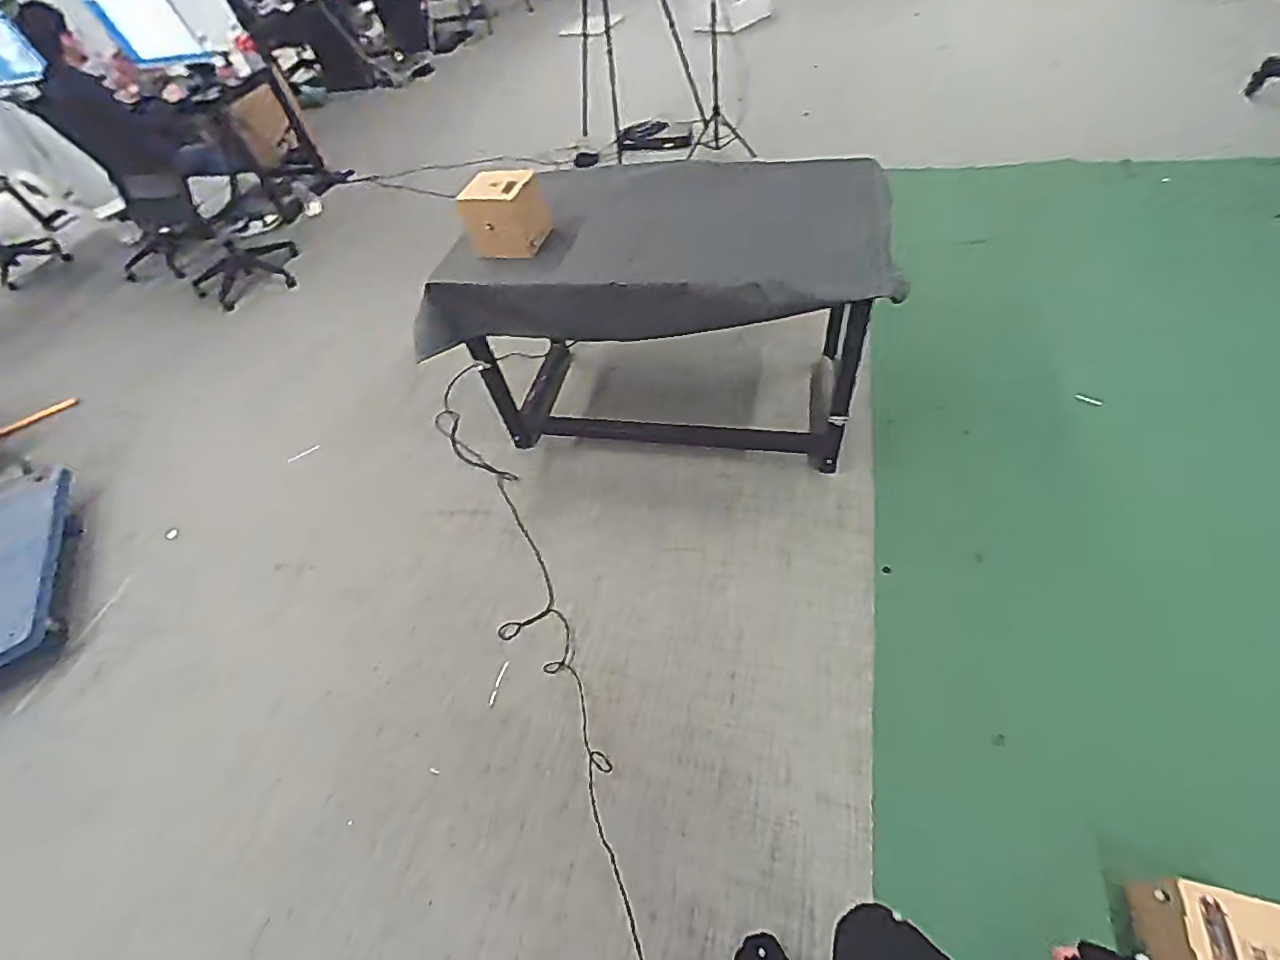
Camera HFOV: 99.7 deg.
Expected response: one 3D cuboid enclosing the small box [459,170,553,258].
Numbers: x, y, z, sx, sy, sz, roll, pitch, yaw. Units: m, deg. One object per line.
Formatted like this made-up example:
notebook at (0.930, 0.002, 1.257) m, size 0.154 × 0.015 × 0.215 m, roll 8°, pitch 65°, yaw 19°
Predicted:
small box at (-0.365, -0.744, 1.518) m, size 0.179 × 0.176 × 0.168 m, roll 8°, pitch 54°, yaw 16°
